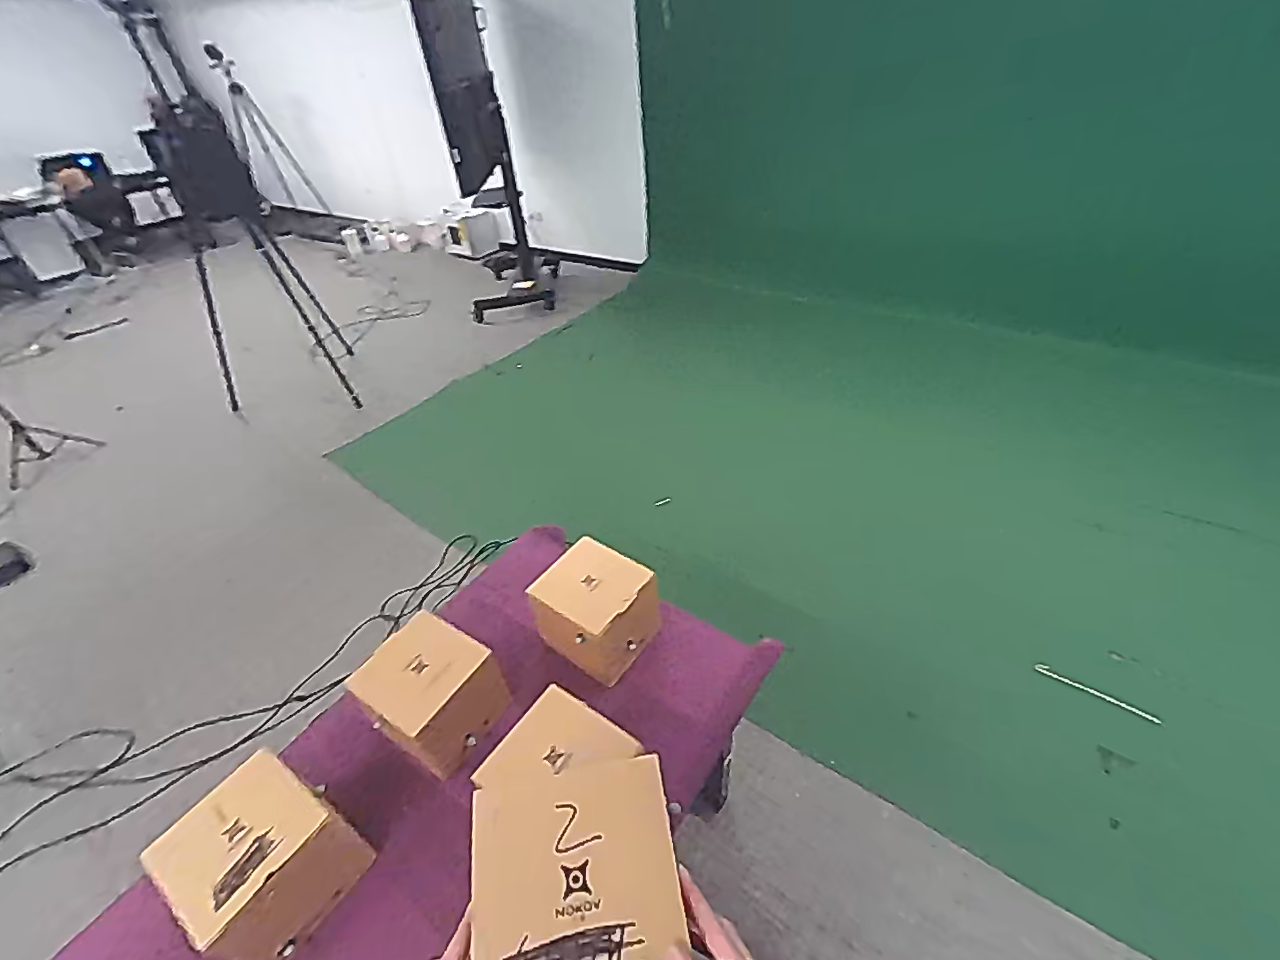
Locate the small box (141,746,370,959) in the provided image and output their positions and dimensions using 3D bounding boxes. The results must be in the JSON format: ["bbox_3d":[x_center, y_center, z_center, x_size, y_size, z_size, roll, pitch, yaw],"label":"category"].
[{"bbox_3d":[-0.515,0.518,0.748,0.179,0.176,0.168,20,46,28],"label":"small box"}]

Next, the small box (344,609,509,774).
[{"bbox_3d":[-0.354,0.361,0.921,0.179,0.176,0.168,21,47,27],"label":"small box"}]

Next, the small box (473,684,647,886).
[{"bbox_3d":[-0.107,0.445,0.791,0.179,0.176,0.168,21,47,30],"label":"small box"}]

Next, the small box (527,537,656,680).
[{"bbox_3d":[-0.086,0.245,1.031,0.179,0.176,0.168,23,48,29],"label":"small box"}]
